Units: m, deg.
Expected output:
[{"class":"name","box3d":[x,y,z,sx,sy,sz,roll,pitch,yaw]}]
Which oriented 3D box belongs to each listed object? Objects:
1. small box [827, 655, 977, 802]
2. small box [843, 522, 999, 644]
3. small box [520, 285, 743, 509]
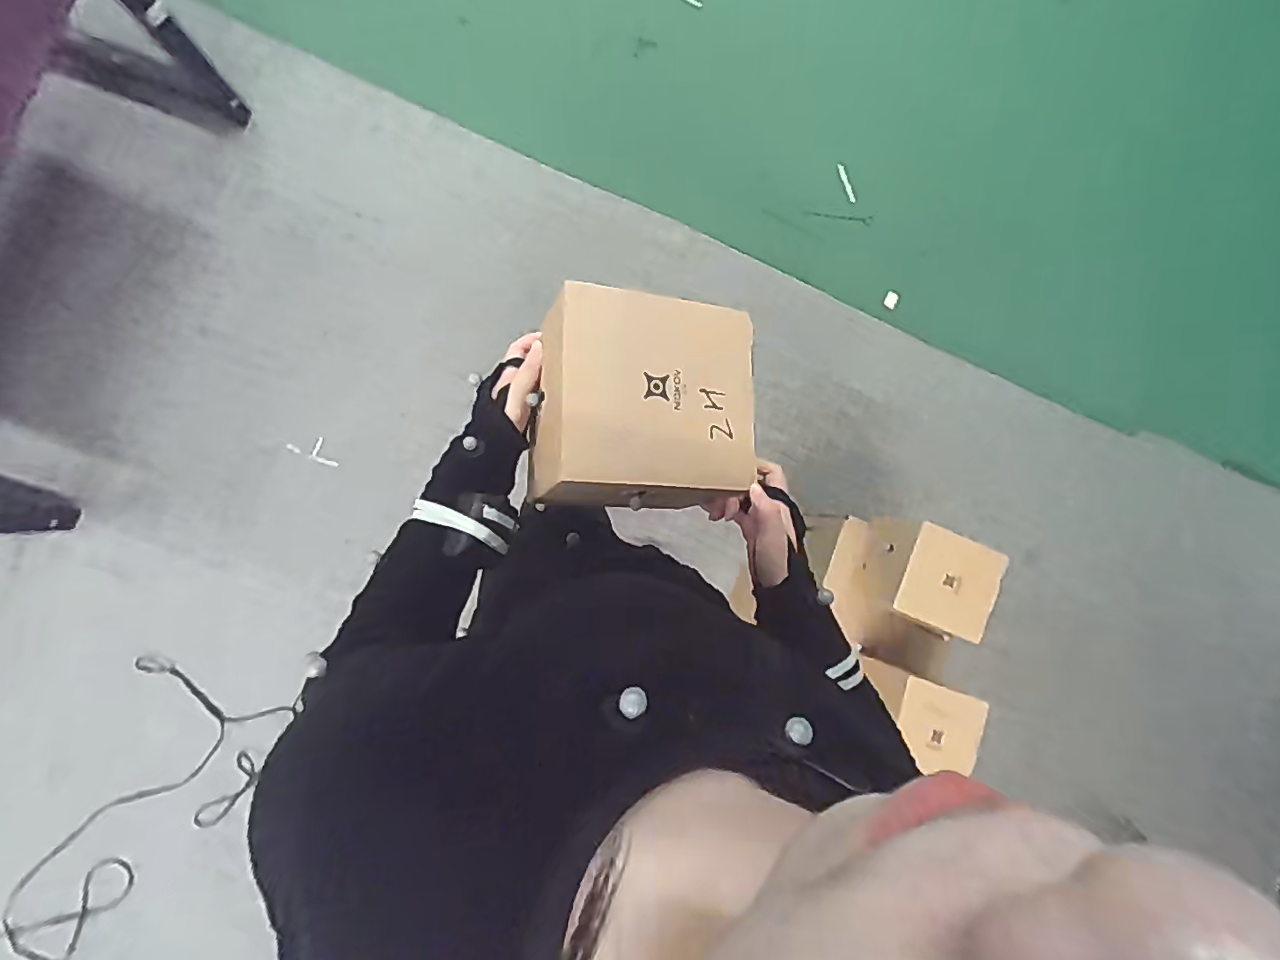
[{"class":"small box","box3d":[0.475,0.452,1.008,0.168,0.176,0.179,22,83,-8]},{"class":"small box","box3d":[0.520,0.186,1.027,0.179,0.176,0.168,24,86,-6]},{"class":"small box","box3d":[-0.018,-0.062,0.526,0.179,0.176,0.168,4,81,-21]}]
